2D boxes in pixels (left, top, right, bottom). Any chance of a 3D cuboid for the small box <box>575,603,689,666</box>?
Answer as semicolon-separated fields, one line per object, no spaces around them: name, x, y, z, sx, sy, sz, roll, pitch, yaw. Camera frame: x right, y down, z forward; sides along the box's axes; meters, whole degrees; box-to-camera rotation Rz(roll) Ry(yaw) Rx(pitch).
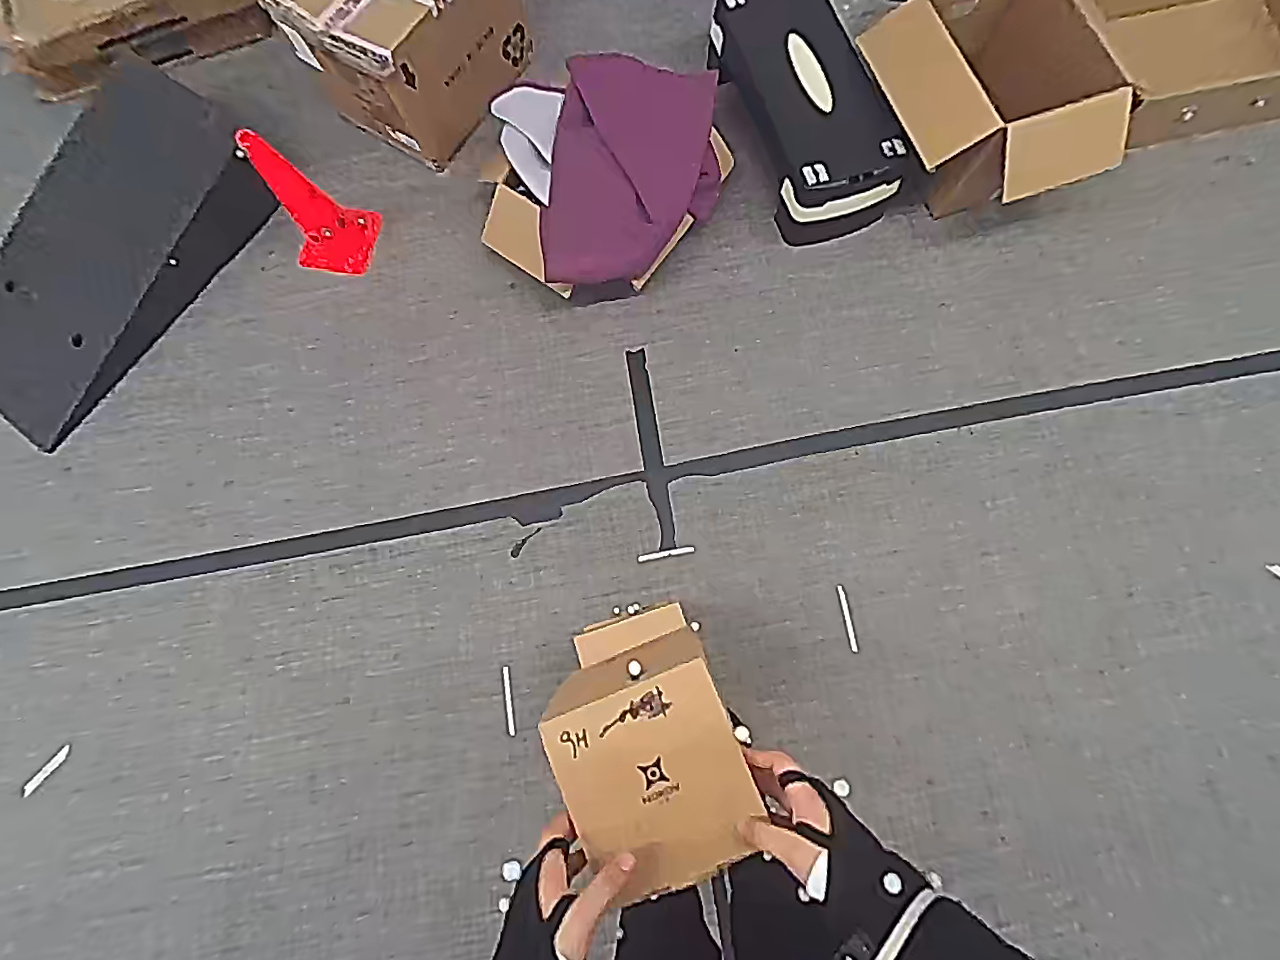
small box;0.009;0.301;0.845;0.168;0.176;0.179;-19;78;-1

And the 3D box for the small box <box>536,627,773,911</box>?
small box;0.016;0.276;0.560;0.168;0.176;0.179;-23;86;1
